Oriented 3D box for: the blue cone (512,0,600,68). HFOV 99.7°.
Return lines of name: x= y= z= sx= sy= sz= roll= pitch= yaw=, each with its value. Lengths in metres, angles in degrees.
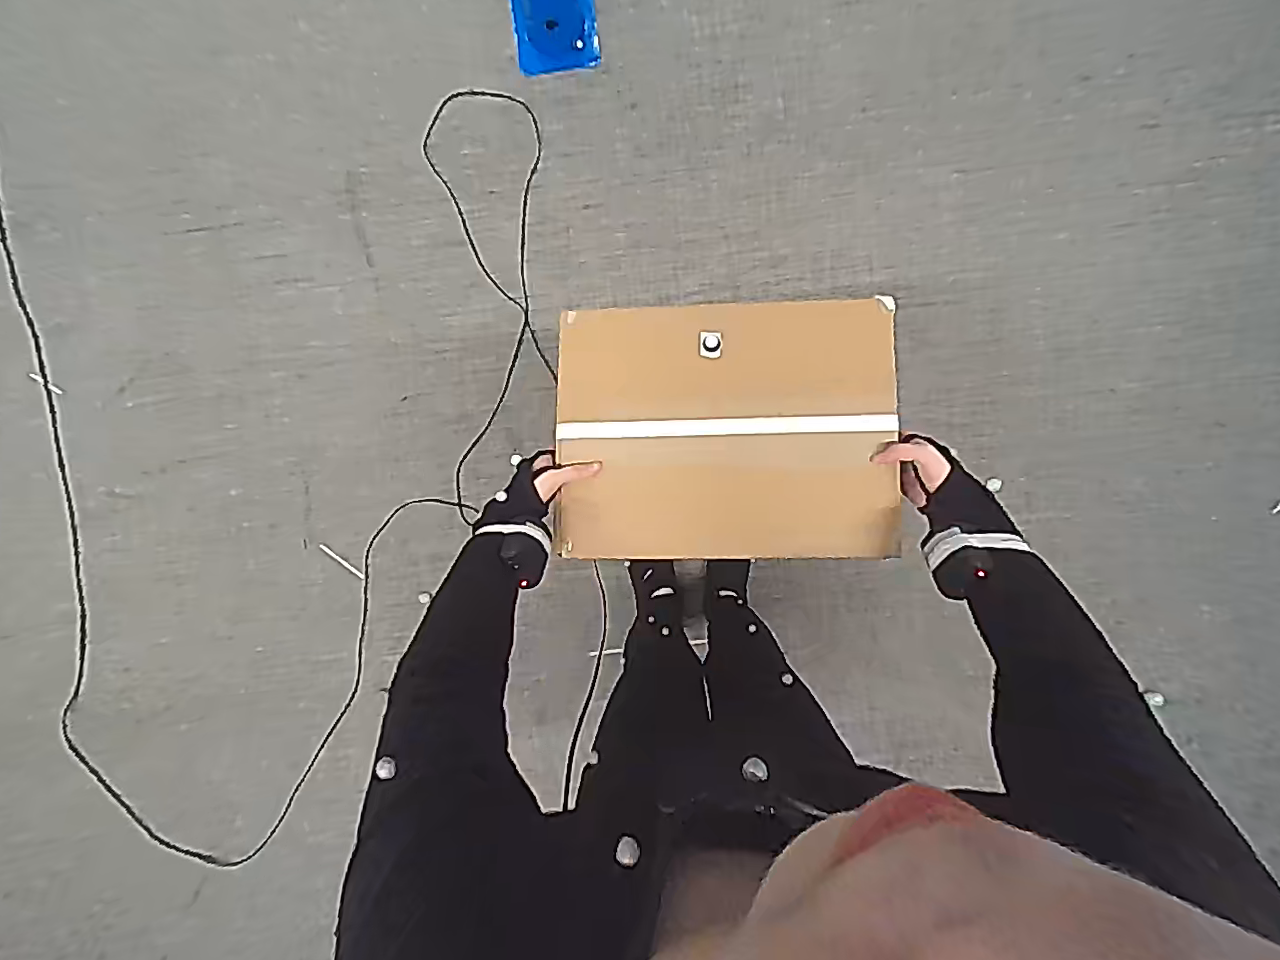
blue cone: x=-0.199 y=-1.068 z=1.106 sx=0.193 sy=0.380 sz=0.192 roll=-9 pitch=94 yaw=0
